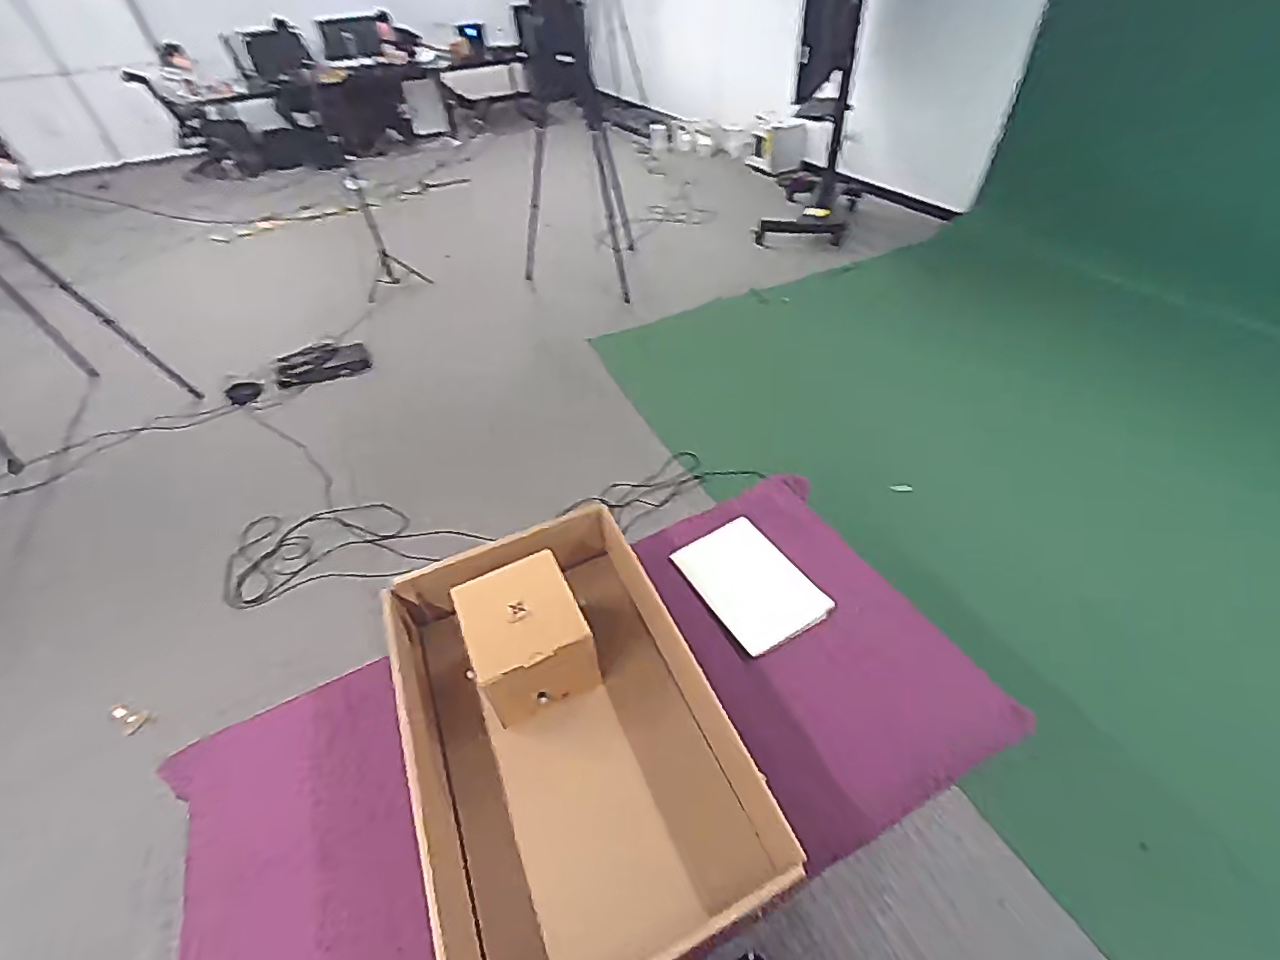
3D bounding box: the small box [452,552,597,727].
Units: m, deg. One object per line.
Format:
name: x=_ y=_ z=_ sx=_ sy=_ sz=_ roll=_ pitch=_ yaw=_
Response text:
small box: x=-0.179 y=0.254 z=0.862 sx=0.168 sy=0.176 sz=0.179 roll=-22 pitch=49 yaw=-18
